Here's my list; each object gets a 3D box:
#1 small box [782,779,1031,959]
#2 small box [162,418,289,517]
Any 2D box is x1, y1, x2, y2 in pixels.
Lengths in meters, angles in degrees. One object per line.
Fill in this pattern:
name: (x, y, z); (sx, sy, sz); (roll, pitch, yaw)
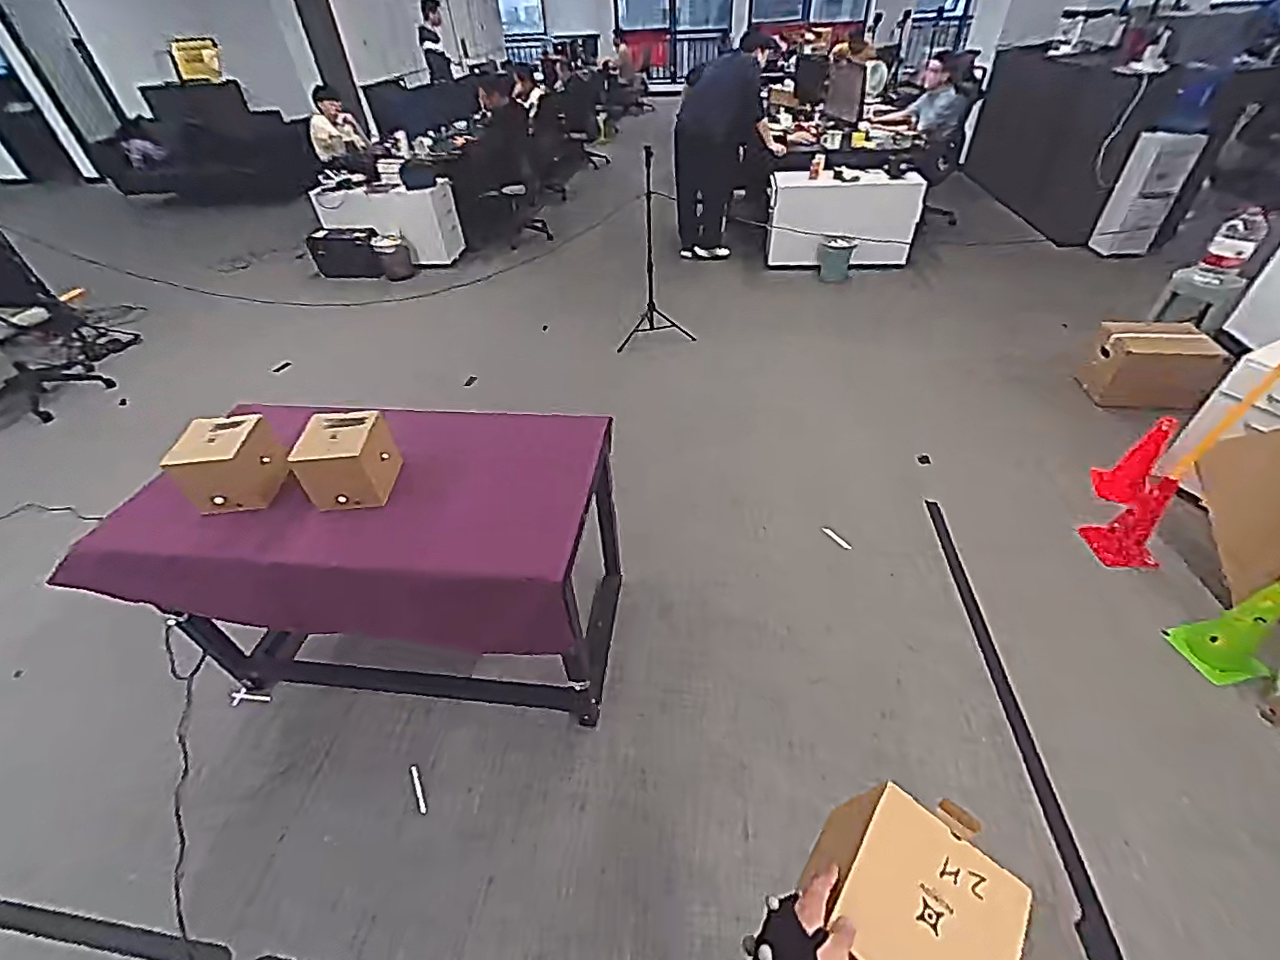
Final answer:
small box: (0.278, 0.479, 0.596); (0.168, 0.176, 0.179); (35, 52, 20)
small box: (-1.019, -0.031, 1.352); (0.168, 0.176, 0.179); (-7, 43, -3)
